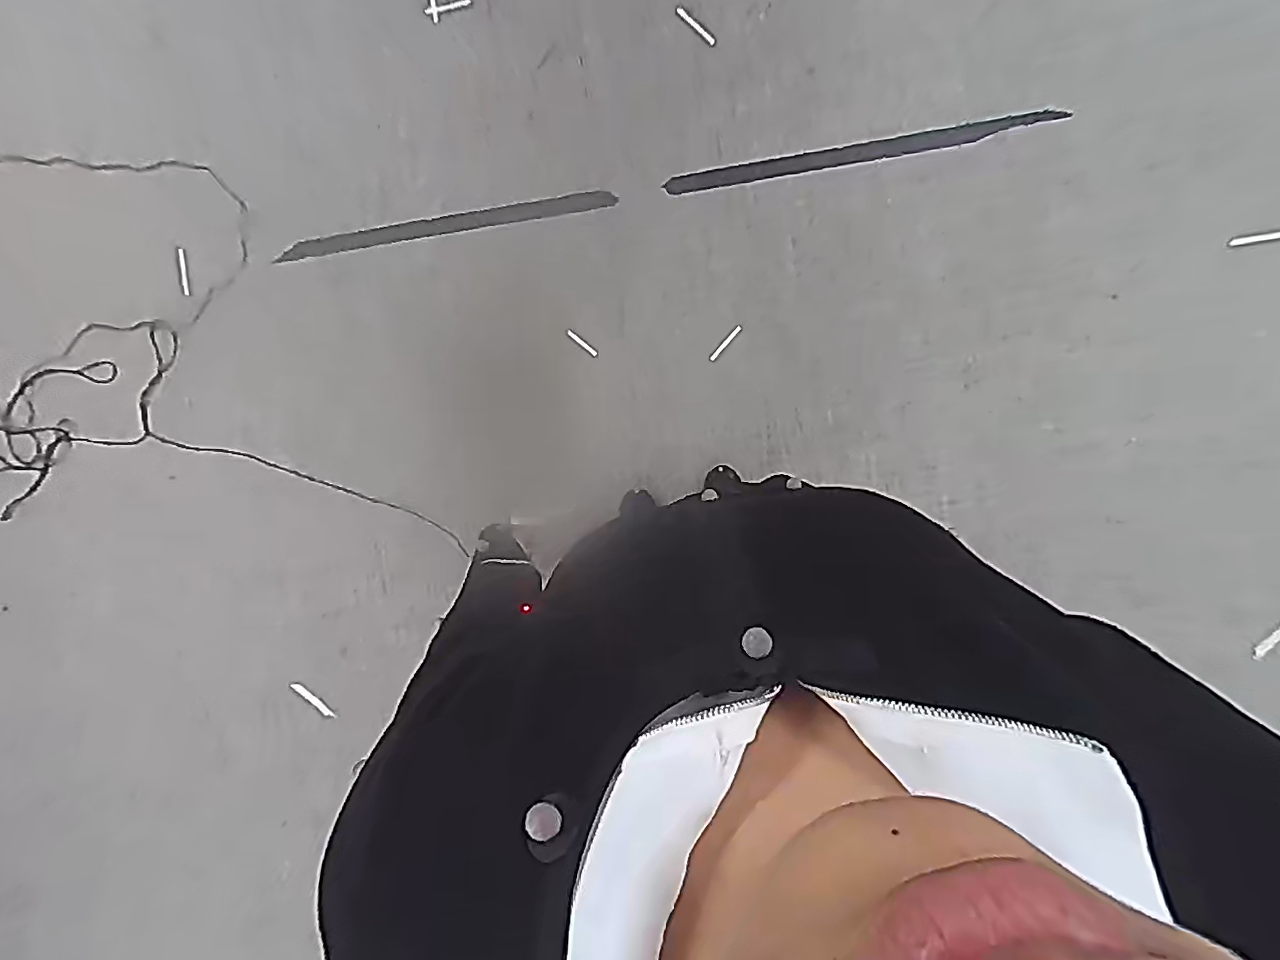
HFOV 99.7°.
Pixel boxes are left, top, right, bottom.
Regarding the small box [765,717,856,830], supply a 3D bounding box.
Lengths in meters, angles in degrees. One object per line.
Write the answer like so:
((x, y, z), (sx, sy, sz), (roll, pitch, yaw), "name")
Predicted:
((0.403, 0.701, 1.302), (0.168, 0.176, 0.179), (-9, 91, 5), "small box")
